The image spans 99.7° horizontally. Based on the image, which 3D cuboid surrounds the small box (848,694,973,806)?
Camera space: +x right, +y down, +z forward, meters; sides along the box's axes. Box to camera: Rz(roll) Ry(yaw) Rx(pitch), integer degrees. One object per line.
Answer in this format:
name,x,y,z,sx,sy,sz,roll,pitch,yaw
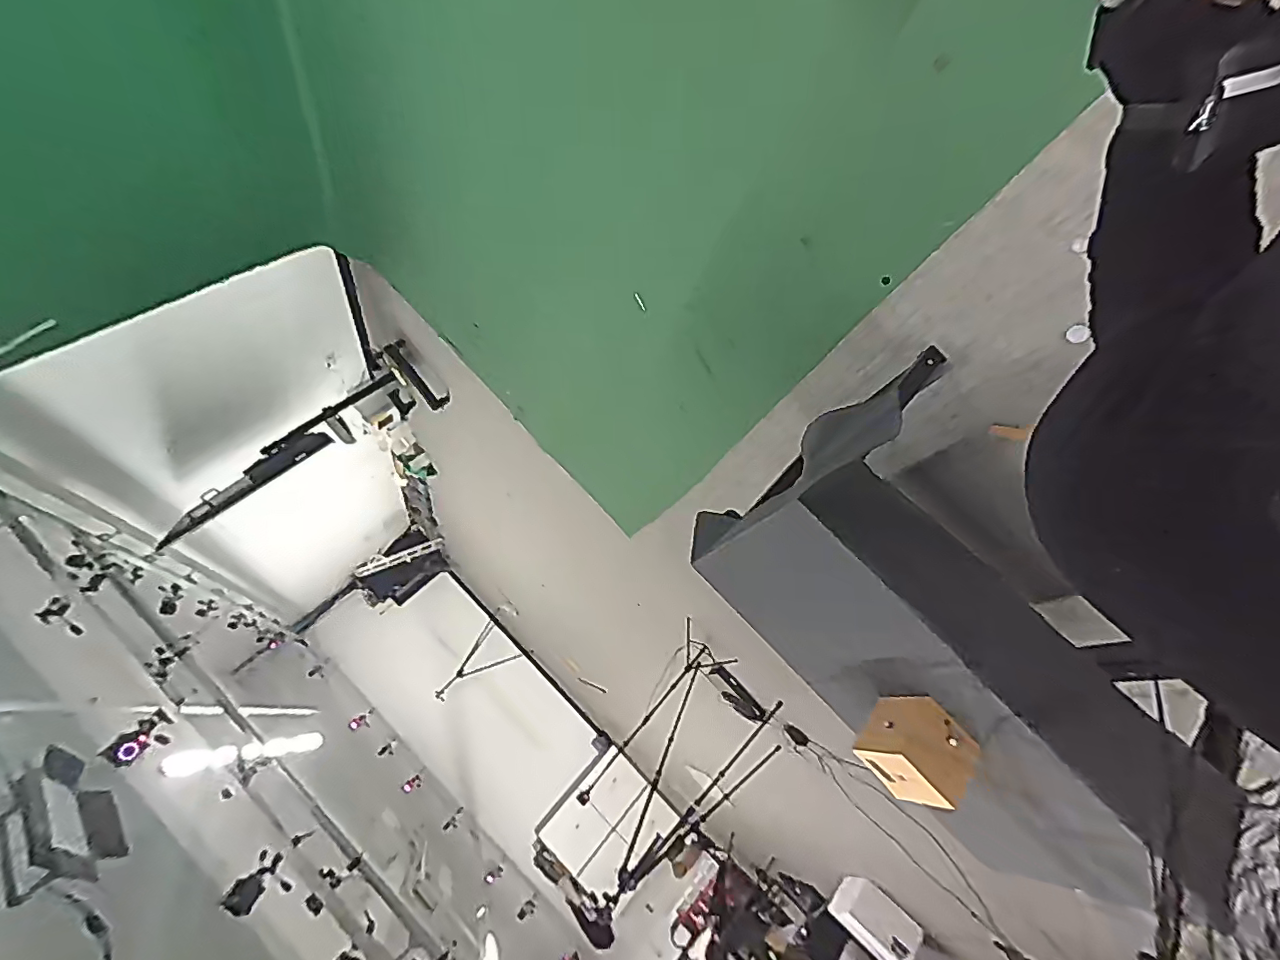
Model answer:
small box,0.646,0.633,1.291,0.168,0.176,0.179,46,151,3
